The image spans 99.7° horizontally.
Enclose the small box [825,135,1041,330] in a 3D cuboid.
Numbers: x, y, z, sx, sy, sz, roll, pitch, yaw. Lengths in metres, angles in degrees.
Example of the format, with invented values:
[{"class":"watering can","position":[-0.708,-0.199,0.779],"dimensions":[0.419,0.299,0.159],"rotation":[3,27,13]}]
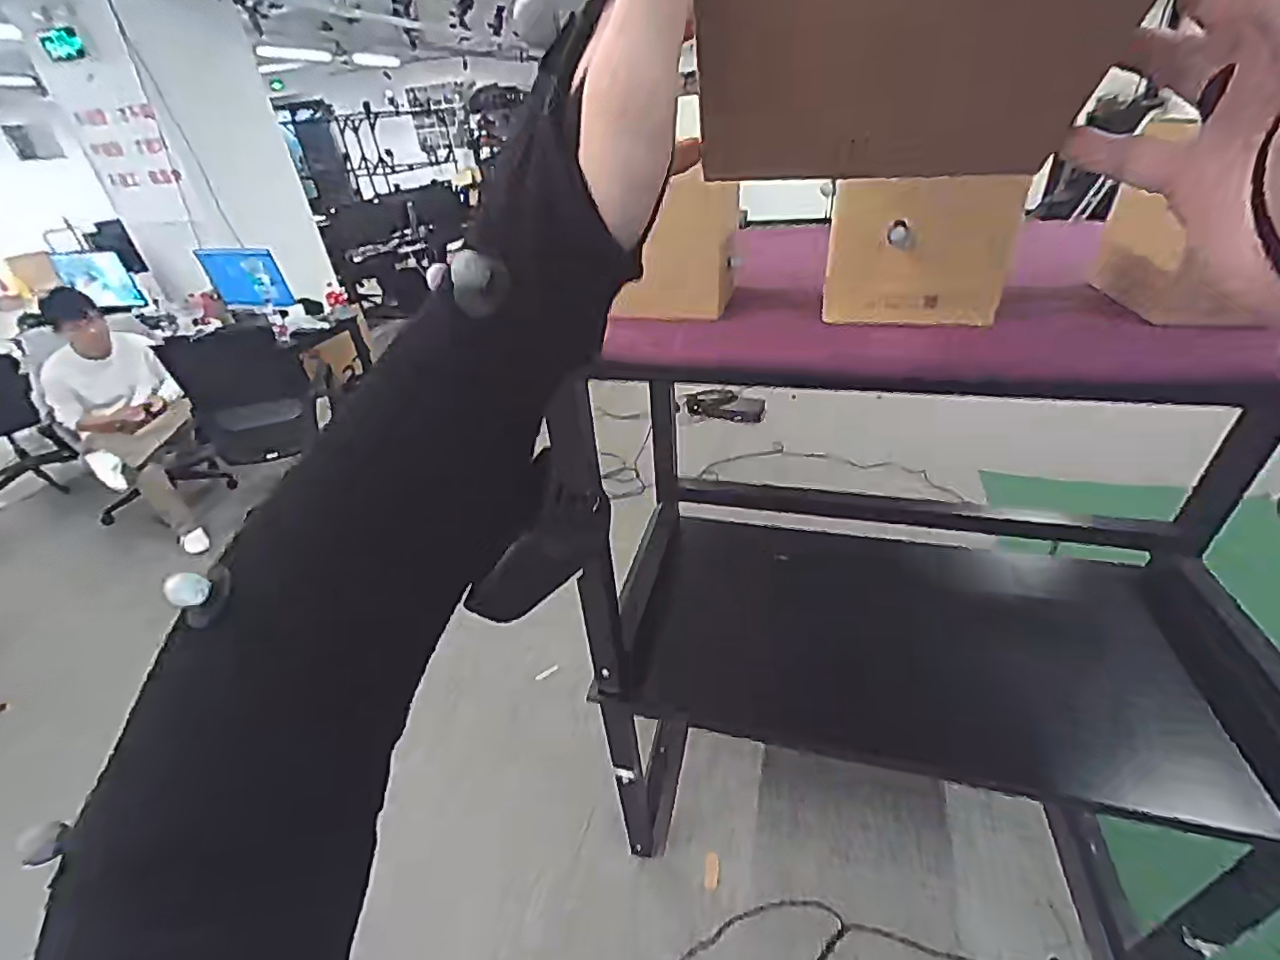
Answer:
[{"class":"small box","position":[0.299,-0.269,0.593],"dimensions":[0.168,0.176,0.179],"rotation":[6,33,16]}]

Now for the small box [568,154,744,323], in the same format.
[{"class":"small box","position":[0.030,-0.300,0.672],"dimensions":[0.179,0.176,0.168],"rotation":[6,35,15]}]

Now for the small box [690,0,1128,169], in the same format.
[{"class":"small box","position":[0.117,-0.267,0.236],"dimensions":[0.179,0.176,0.168],"rotation":[5,76,11]}]
